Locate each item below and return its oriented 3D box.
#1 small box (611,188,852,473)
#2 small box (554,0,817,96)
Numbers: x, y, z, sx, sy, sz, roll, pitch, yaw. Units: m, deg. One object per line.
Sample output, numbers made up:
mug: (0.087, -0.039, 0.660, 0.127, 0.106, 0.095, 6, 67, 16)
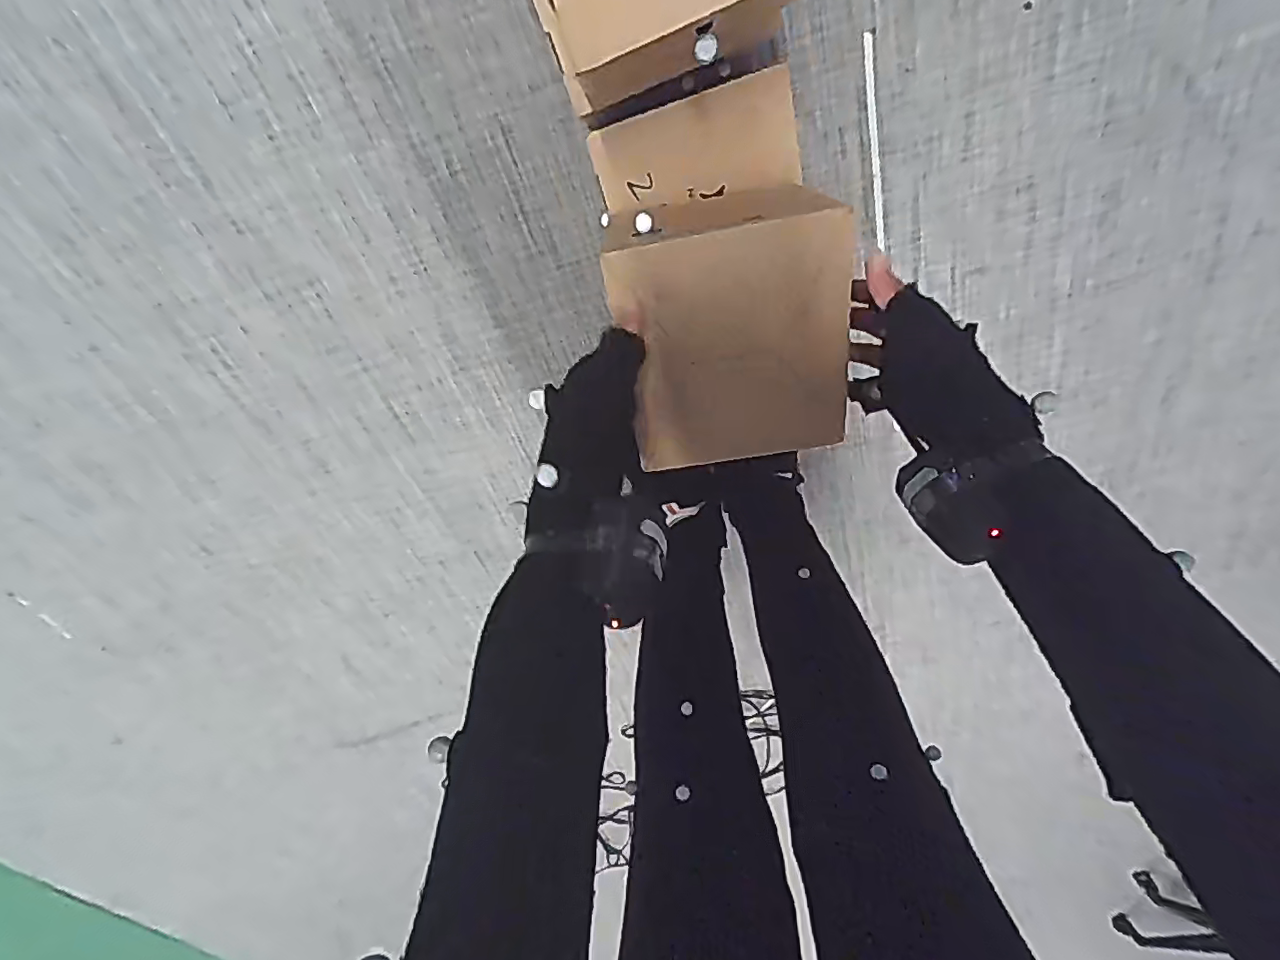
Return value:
small box: (0.071, -0.131, 0.460, 0.168, 0.176, 0.179, -8, 122, 5)
small box: (0.020, -0.357, 0.321, 0.179, 0.176, 0.168, -17, 121, 10)
